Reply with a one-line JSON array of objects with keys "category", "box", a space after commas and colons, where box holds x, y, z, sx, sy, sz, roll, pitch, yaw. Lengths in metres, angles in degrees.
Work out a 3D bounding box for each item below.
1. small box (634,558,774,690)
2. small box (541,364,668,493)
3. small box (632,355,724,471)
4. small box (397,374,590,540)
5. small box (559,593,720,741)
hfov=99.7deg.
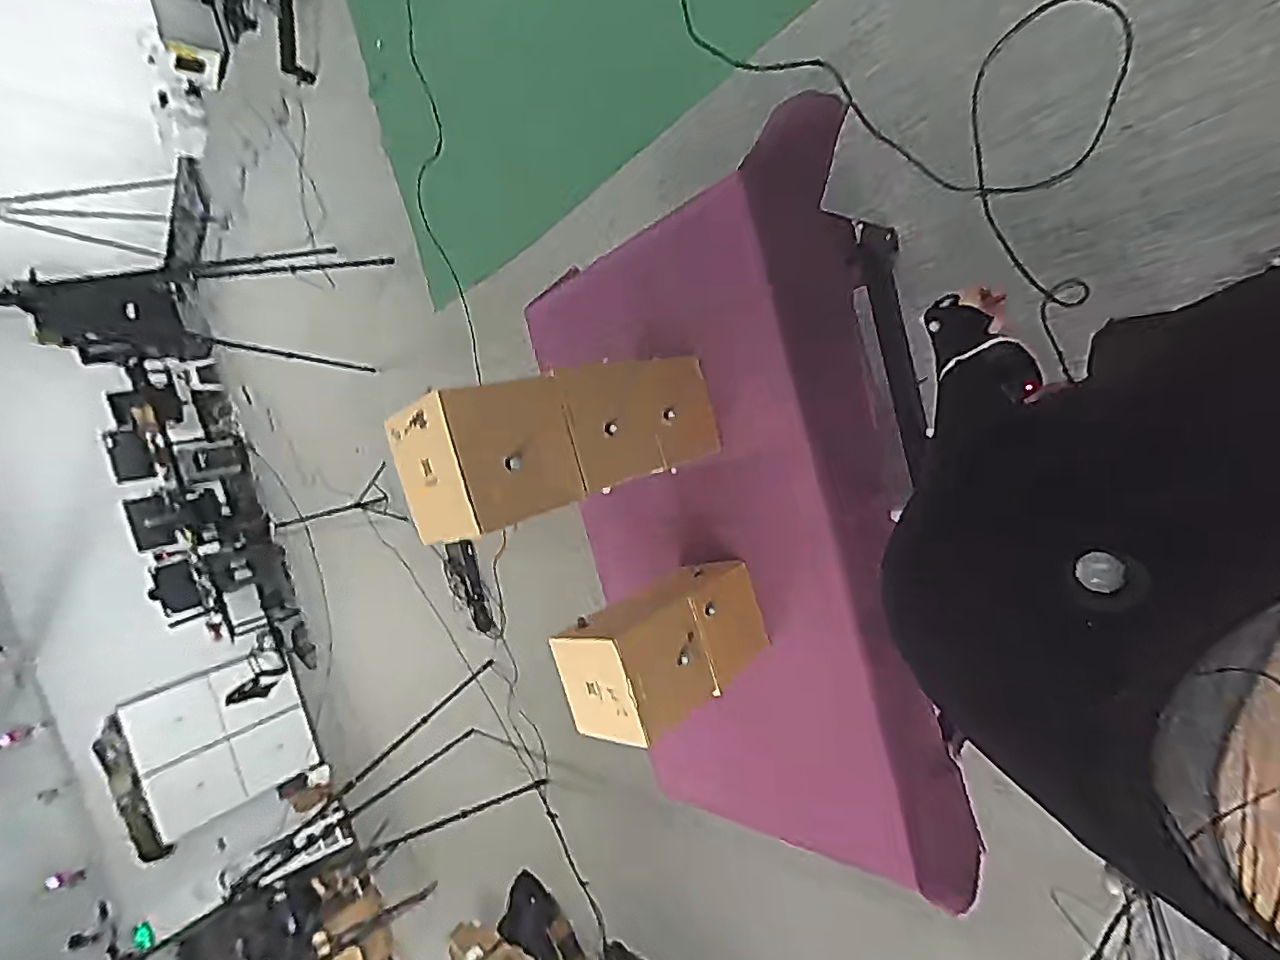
[{"category": "small box", "box": [0.122, 0.259, 0.997, 0.168, 0.176, 0.179, -17, 91, 46]}, {"category": "small box", "box": [-0.083, -0.077, 0.844, 0.168, 0.176, 0.179, -10, 97, 45]}, {"category": "small box", "box": [0.028, -0.112, 0.959, 0.168, 0.176, 0.179, -10, 96, 45]}, {"category": "small box", "box": [-0.192, -0.031, 0.729, 0.168, 0.176, 0.179, -11, 97, 45]}, {"category": "small box", "box": [0.001, 0.294, 0.889, 0.179, 0.176, 0.168, -17, 92, 46]}]
